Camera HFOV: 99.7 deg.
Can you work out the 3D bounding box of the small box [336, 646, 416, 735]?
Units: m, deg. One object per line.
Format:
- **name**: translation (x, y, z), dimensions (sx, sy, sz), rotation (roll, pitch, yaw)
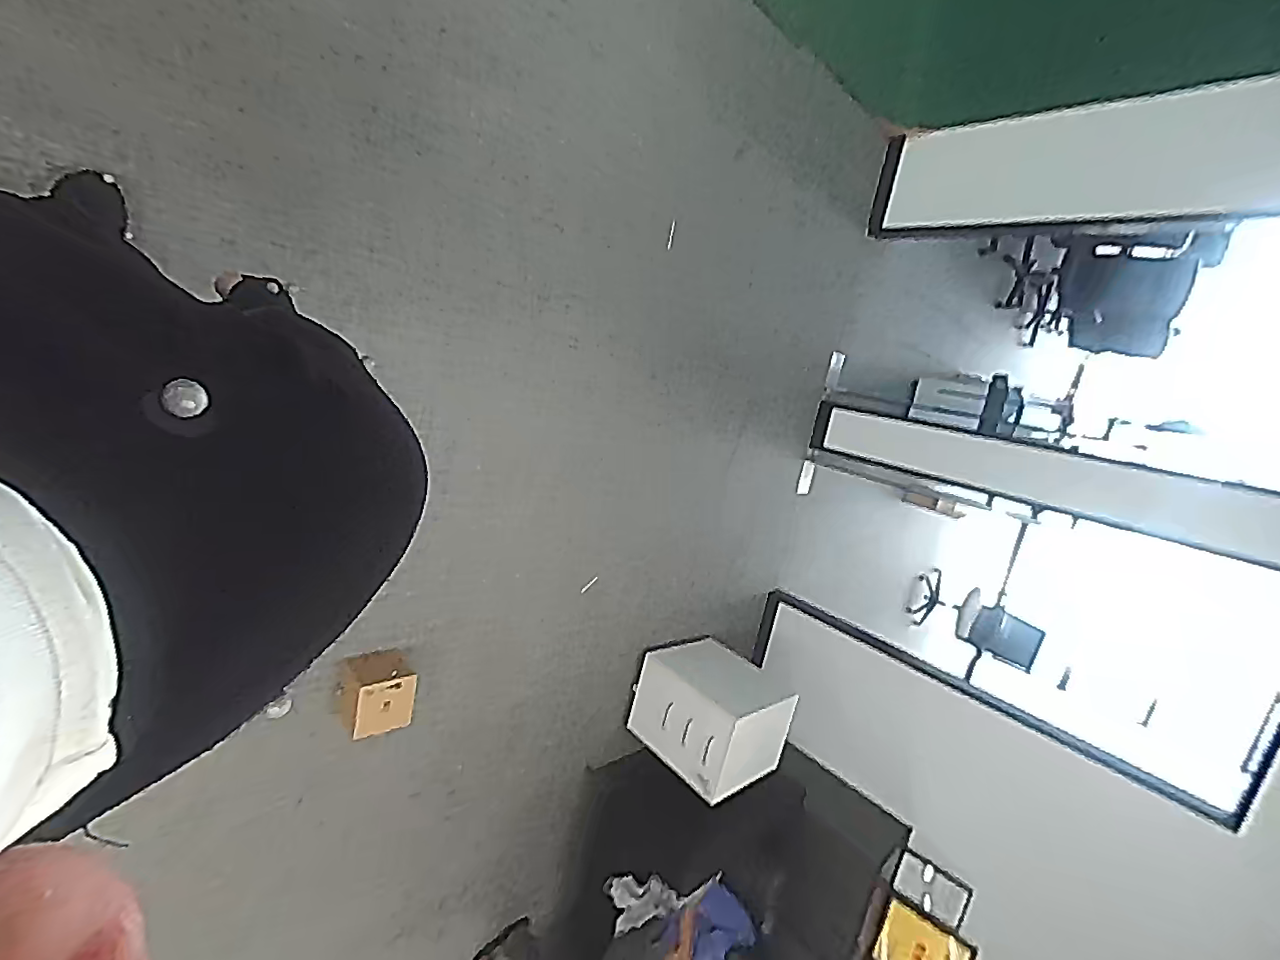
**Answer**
- **small box**: translation (-0.813, 0.637, 1.656), dimensions (0.168, 0.176, 0.179), rotation (3, 105, -46)
